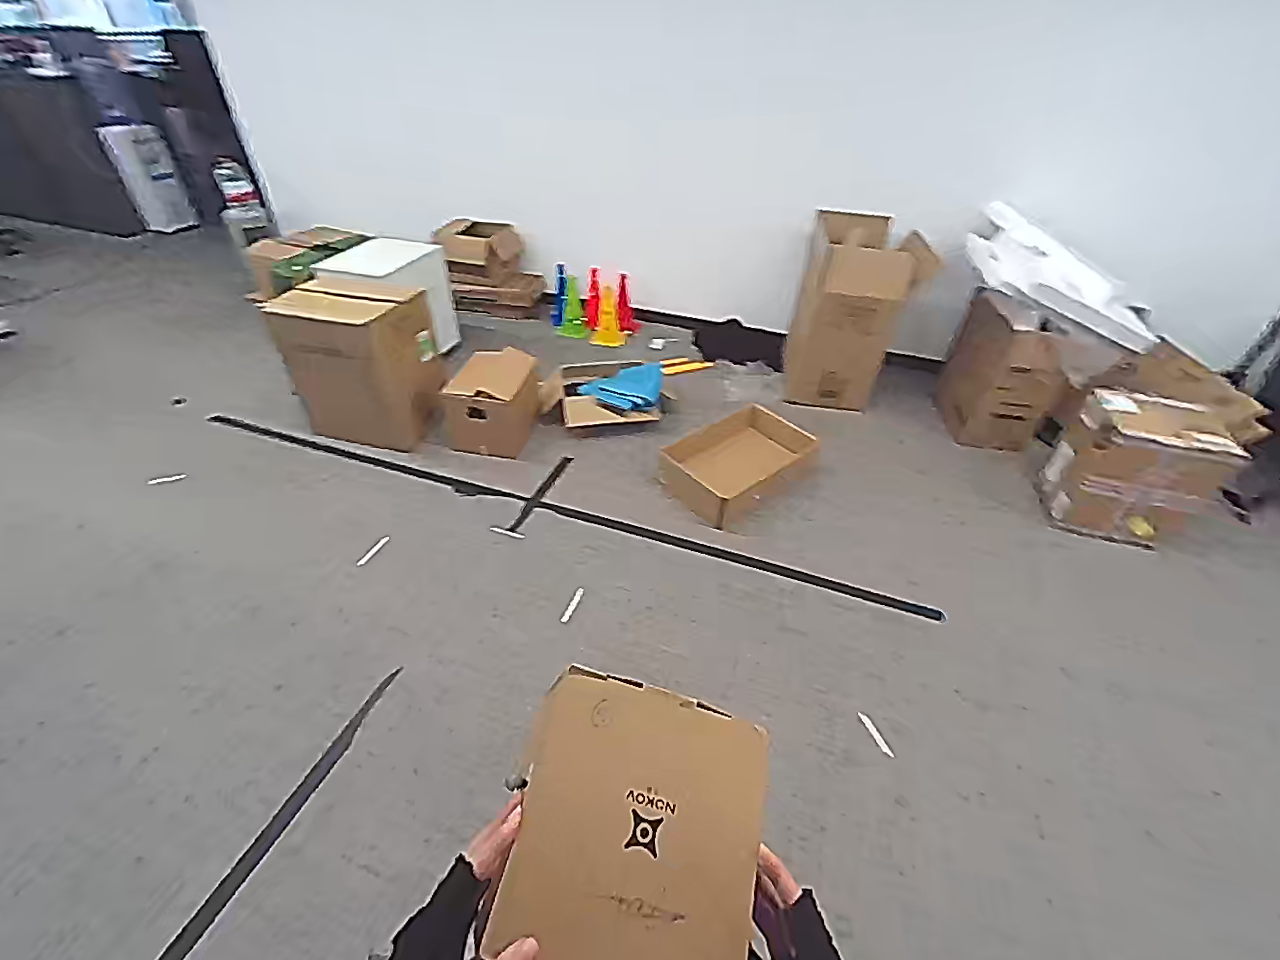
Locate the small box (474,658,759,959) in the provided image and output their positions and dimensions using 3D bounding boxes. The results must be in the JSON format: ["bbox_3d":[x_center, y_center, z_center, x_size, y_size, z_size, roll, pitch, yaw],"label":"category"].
[{"bbox_3d":[-0.023,0.266,0.424,0.168,0.176,0.179,19,56,-6],"label":"small box"}]
